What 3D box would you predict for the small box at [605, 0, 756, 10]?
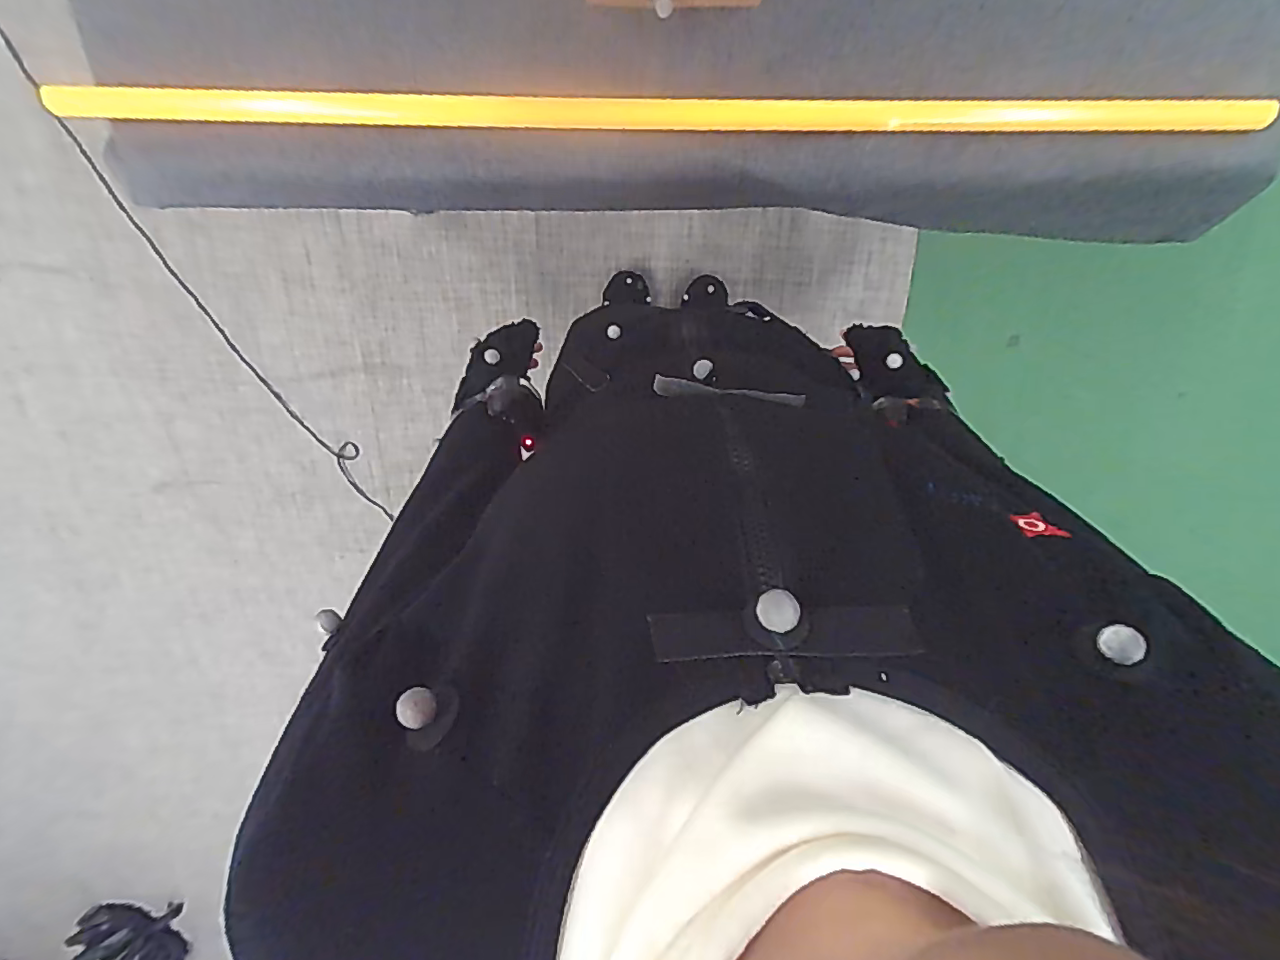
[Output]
[{"bbox_3d":[0.035,-0.507,0.416,0.168,0.176,0.179,-1,113,1],"label":"small box"}]
